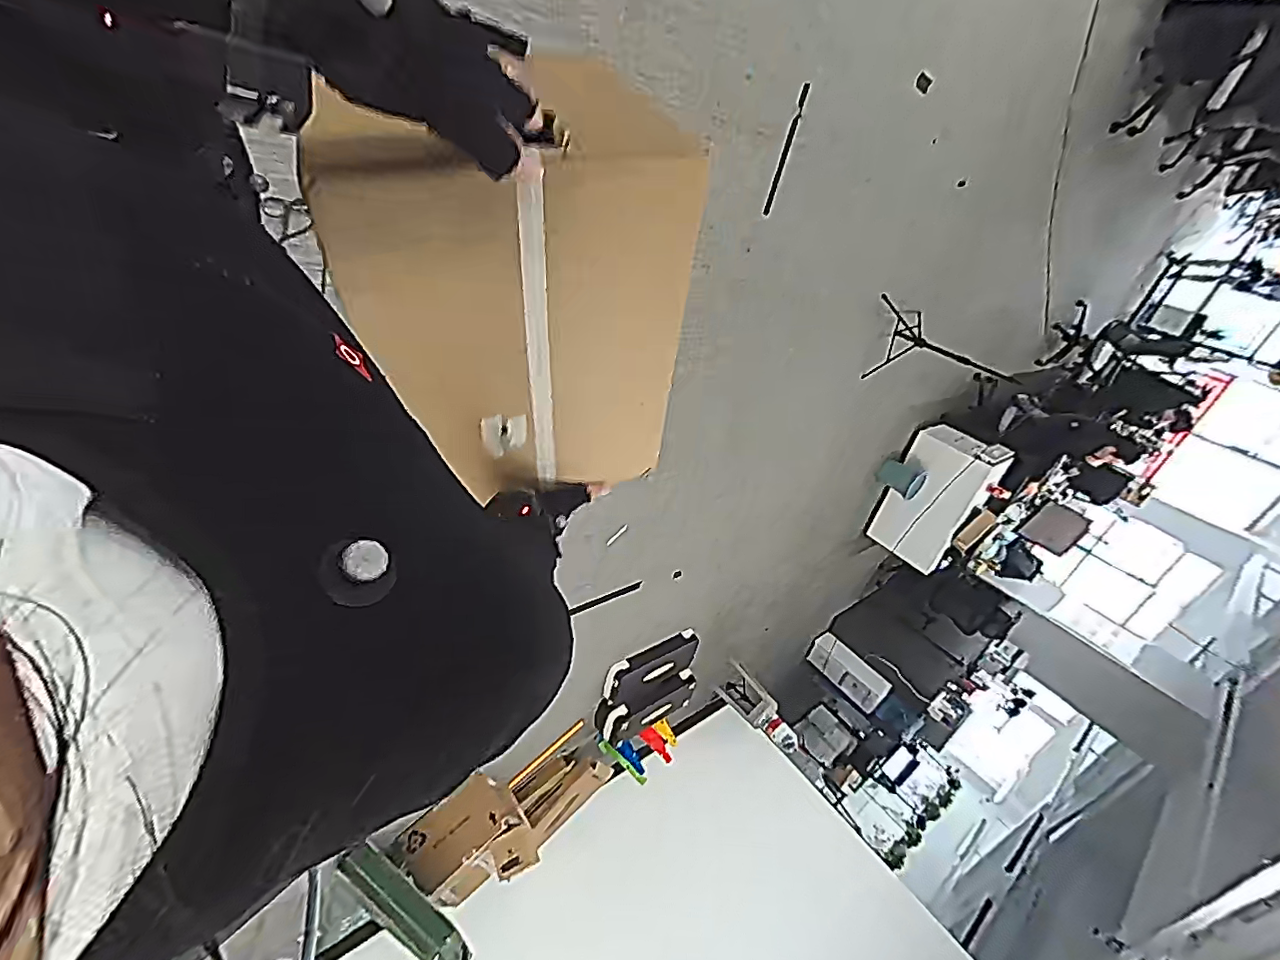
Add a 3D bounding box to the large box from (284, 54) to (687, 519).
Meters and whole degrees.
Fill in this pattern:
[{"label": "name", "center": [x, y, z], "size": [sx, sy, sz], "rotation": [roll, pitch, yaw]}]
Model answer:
[{"label": "large box", "center": [-0.174, -0.224, 0.646], "size": [0.320, 0.320, 0.408], "rotation": [-14, 143, -19]}]
